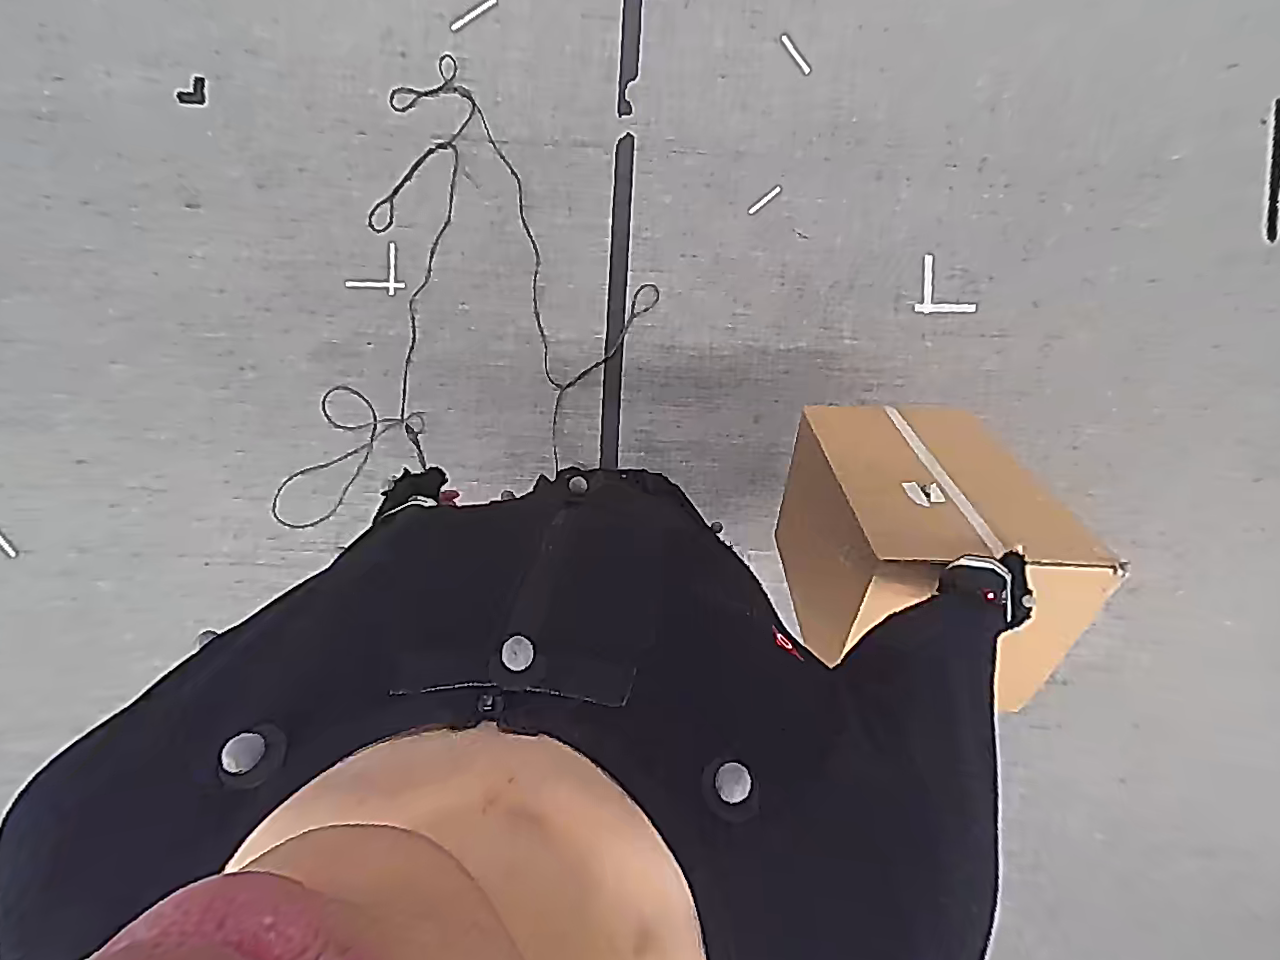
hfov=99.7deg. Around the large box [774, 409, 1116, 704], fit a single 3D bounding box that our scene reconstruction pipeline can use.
[{"bbox_3d":[0.448,0.115,0.930,0.320,0.408,0.320,2,127,-1],"label":"large box"}]
